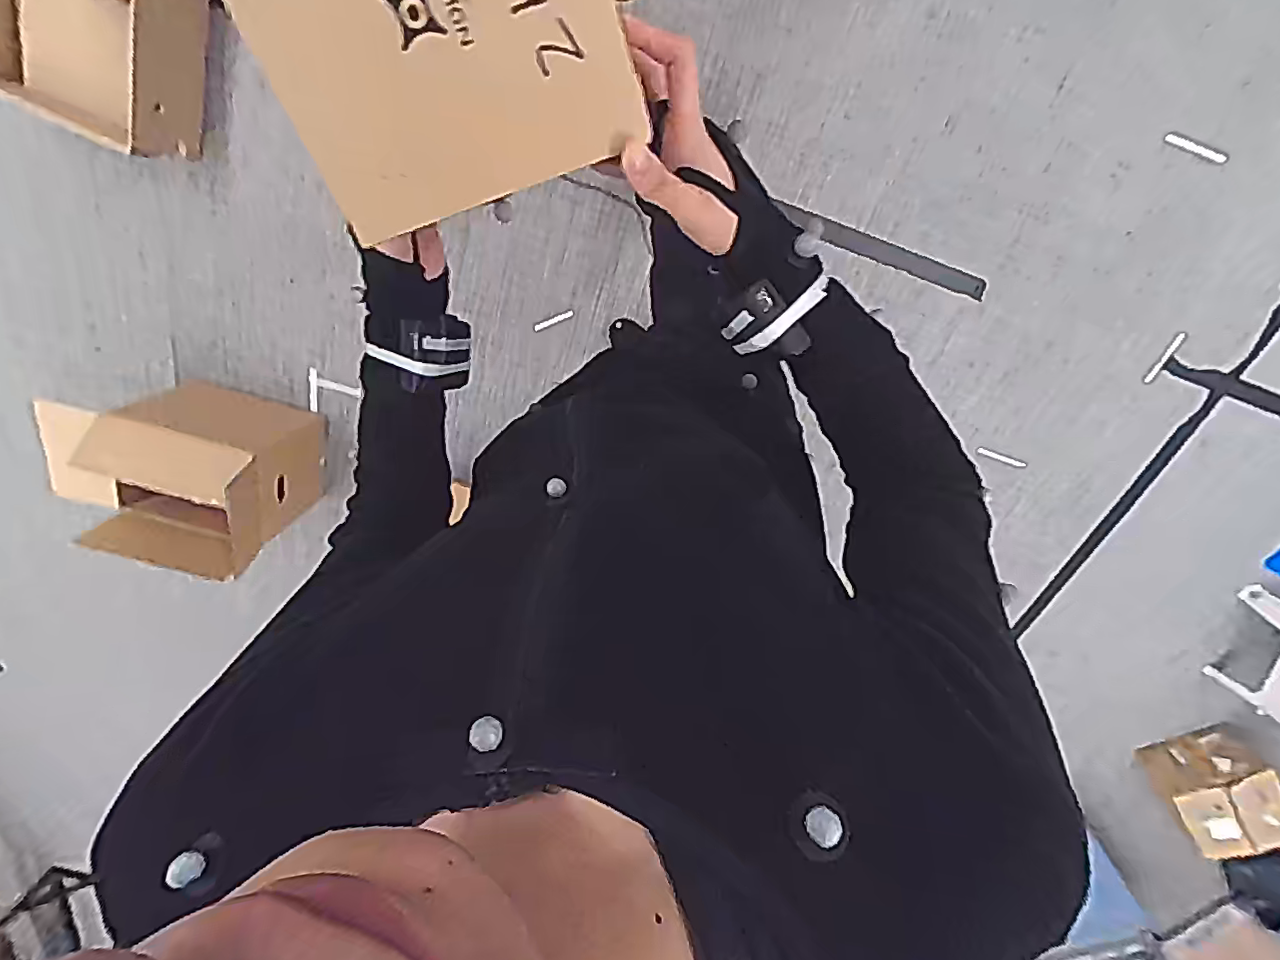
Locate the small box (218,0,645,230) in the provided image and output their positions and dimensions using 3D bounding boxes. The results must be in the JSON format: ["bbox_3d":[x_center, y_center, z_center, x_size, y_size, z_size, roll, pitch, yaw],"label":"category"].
[{"bbox_3d":[-0.109,-0.265,0.312,0.179,0.176,0.168,-18,124,3],"label":"small box"}]
